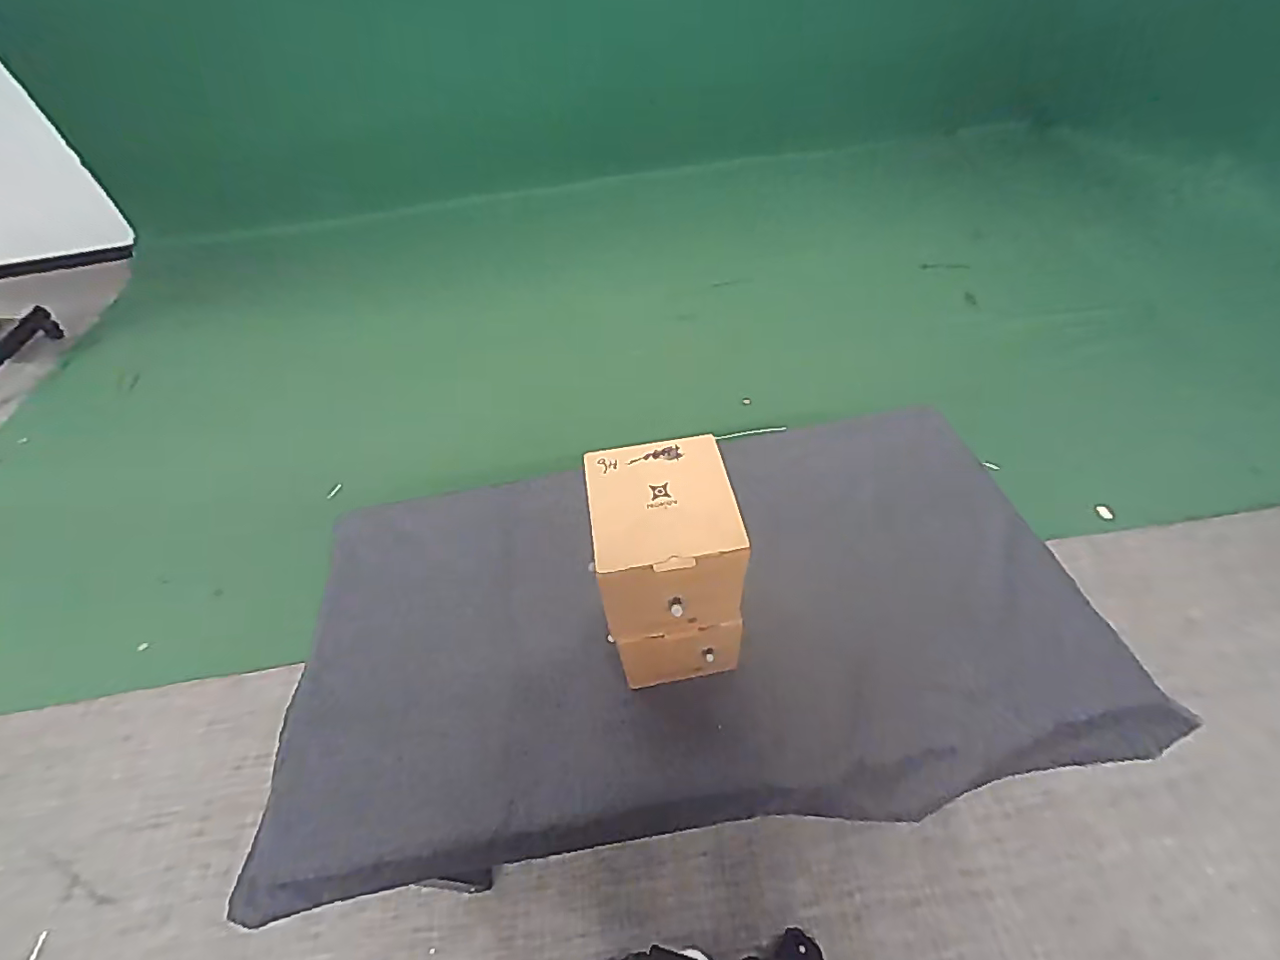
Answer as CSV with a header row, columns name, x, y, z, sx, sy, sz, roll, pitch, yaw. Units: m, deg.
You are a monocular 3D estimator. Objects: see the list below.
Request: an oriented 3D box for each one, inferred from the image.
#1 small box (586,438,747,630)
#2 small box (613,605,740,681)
name,x,y,z,sx,sy,sz,roll,pitch,yaw
small box,0.029,0.076,0.680,0.168,0.176,0.179,-8,52,-3
small box,0.043,0.183,0.803,0.168,0.176,0.179,-9,49,-4
